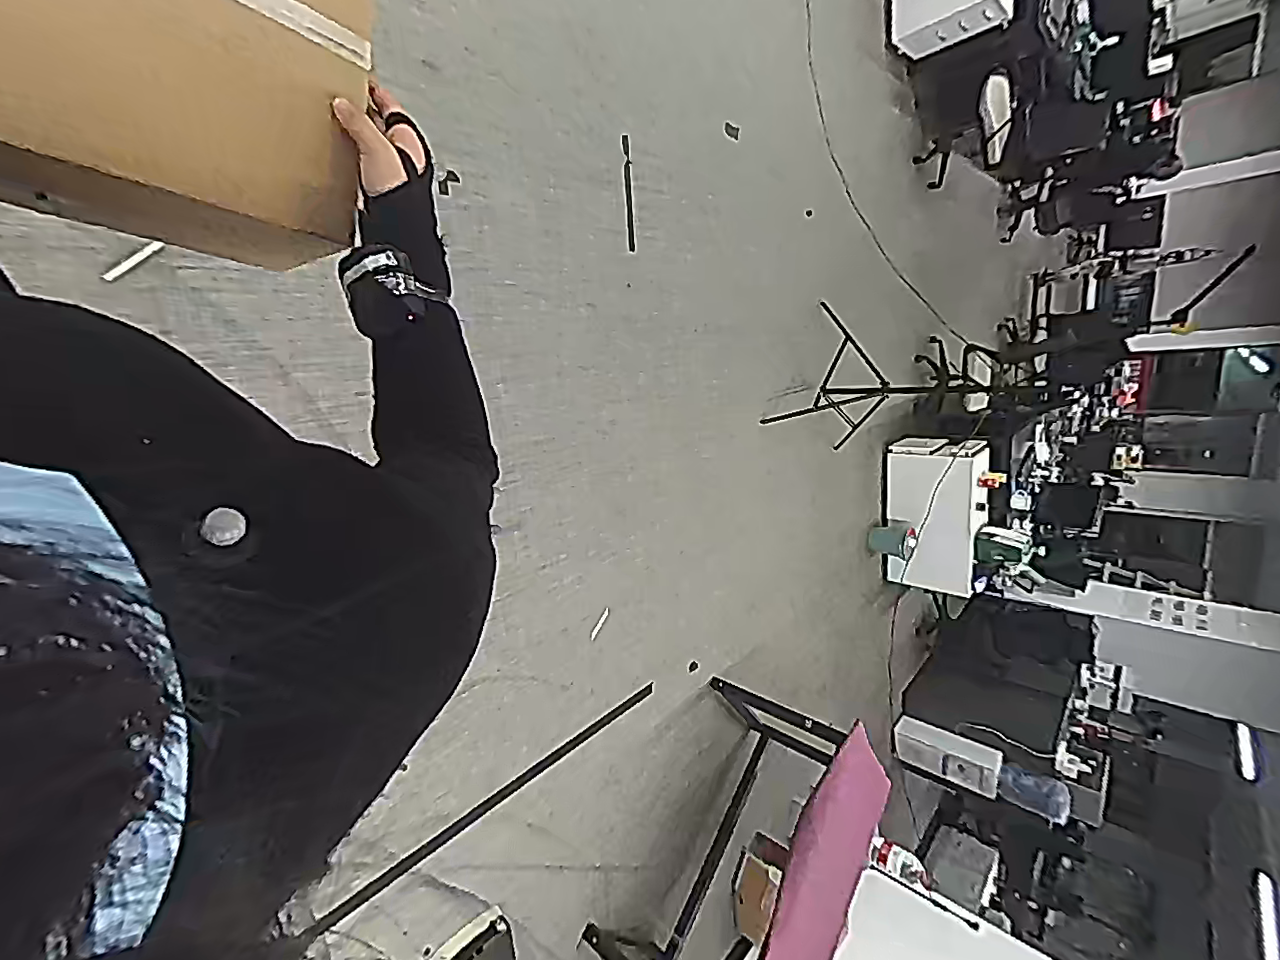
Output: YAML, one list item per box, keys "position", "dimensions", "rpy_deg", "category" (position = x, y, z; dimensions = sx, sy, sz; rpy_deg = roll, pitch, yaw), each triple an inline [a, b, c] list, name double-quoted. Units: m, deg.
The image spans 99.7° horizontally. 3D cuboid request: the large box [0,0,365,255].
- position: [-0.488, -0.408, 0.445]
  dimensions: [0.408, 0.320, 0.320]
  rpy_deg: [1, 100, -45]
  category: "large box"
